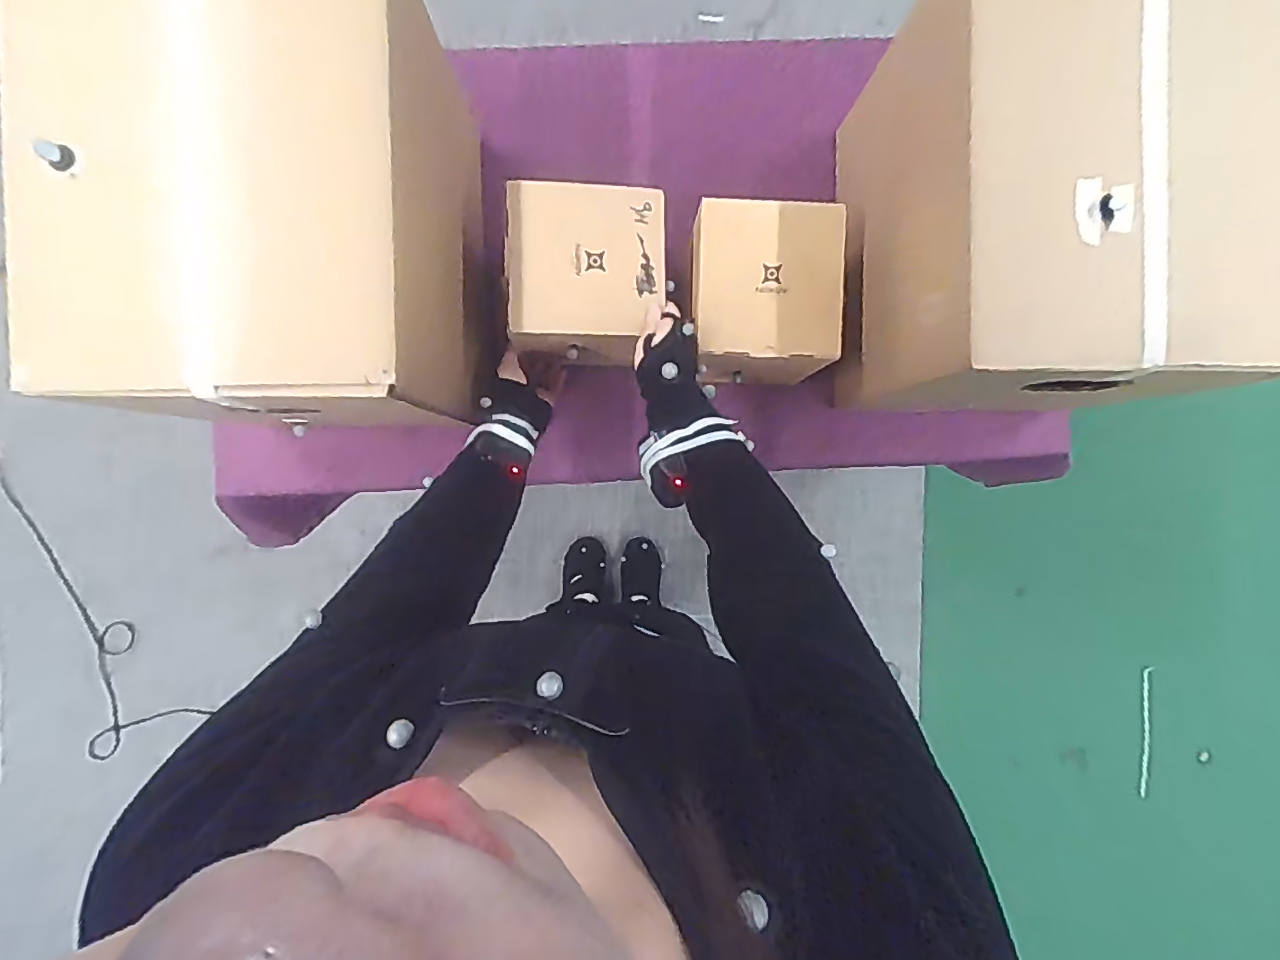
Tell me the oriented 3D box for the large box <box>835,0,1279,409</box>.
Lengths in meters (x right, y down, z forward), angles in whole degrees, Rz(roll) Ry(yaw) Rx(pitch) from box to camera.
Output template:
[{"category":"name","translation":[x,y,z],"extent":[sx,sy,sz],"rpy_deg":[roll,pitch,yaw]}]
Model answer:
[{"category":"large box","translation":[0.439,-0.301,0.635],"extent":[0.320,0.320,0.408],"rpy_deg":[0,92,-2]}]
